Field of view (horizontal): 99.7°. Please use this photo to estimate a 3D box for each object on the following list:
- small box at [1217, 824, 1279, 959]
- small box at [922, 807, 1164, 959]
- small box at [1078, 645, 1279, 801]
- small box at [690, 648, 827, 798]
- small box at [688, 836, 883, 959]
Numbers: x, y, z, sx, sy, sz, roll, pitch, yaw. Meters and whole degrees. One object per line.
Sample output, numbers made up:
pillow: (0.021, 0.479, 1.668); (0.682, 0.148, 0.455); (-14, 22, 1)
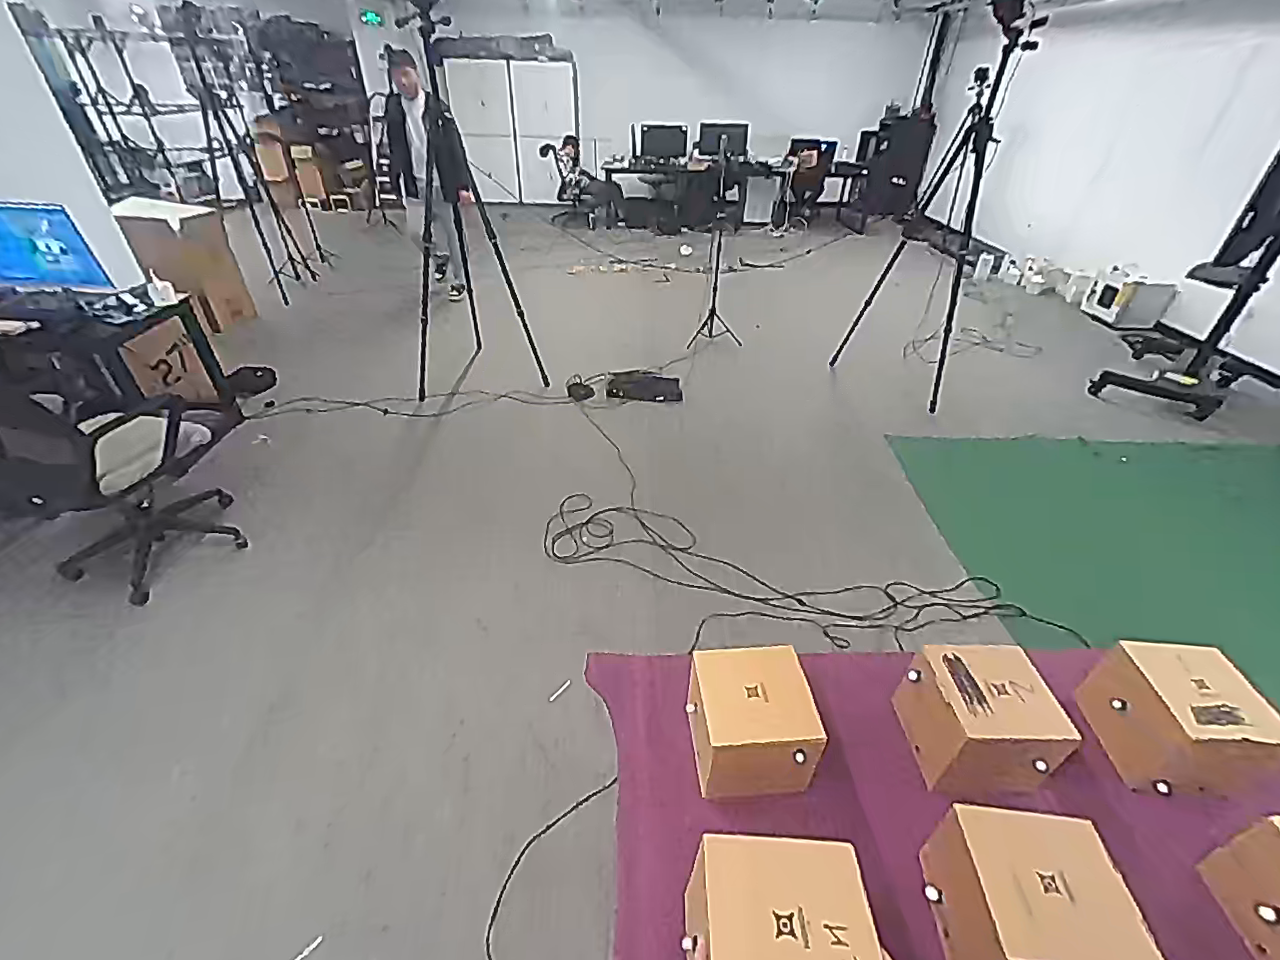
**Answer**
small box: (0.901, 0.563, 0.678); (0.179, 0.176, 0.168); (2, 35, 3)
small box: (0.491, 0.551, 0.685); (0.179, 0.176, 0.168); (4, 35, 6)
small box: (0.893, 0.404, 0.898); (0.168, 0.176, 0.179); (4, 36, 4)
small box: (0.179, 0.398, 0.886); (0.179, 0.176, 0.168); (-1, 36, -5)
small box: (0.145, 0.516, 0.579); (0.179, 0.176, 0.168); (5, 34, 0)
